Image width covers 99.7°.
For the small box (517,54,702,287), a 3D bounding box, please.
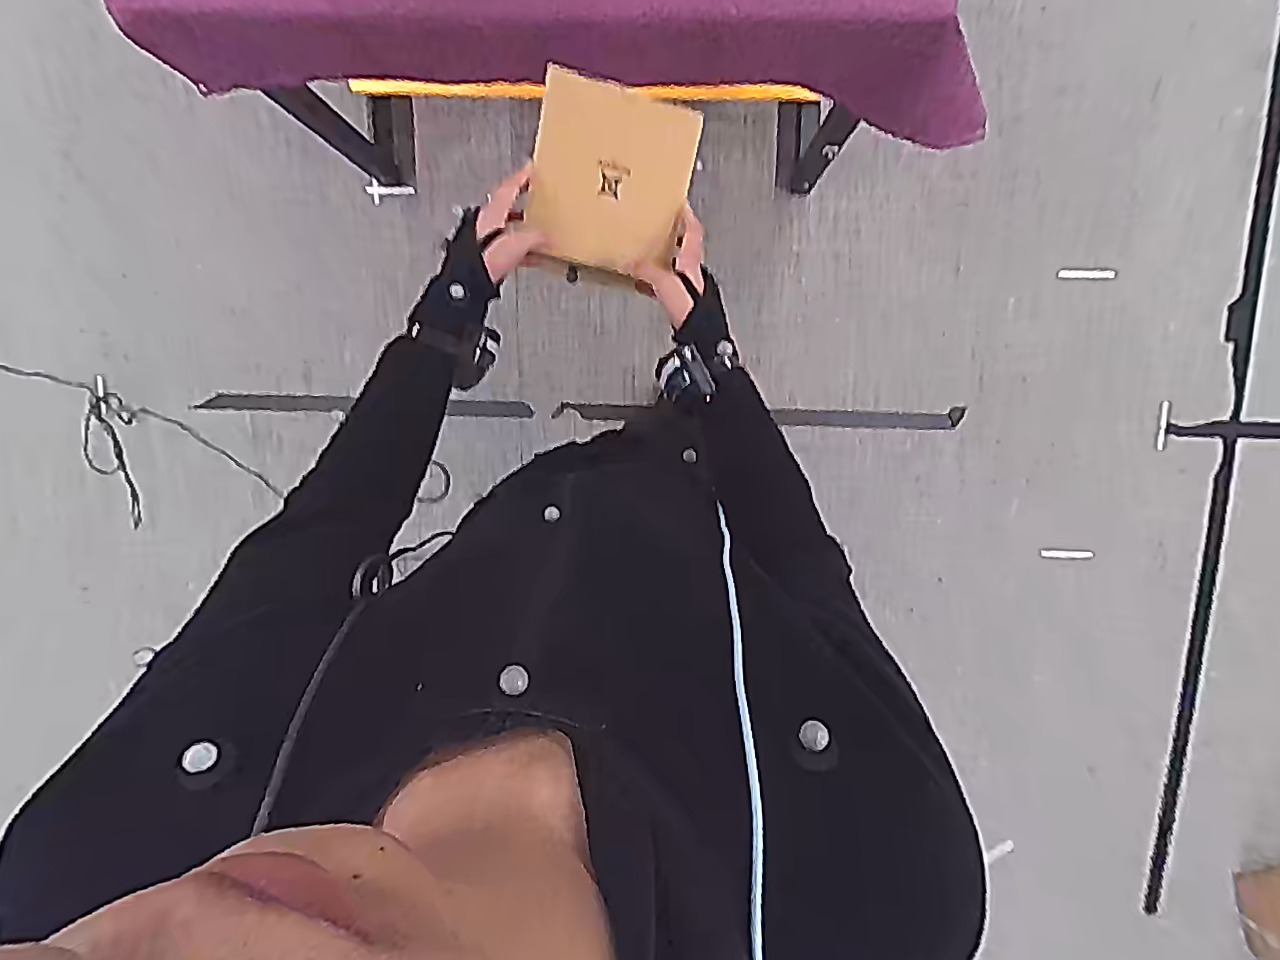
[{"bbox_3d":[-0.042,-0.337,0.634,0.168,0.176,0.179,10,102,-11],"label":"small box"}]
